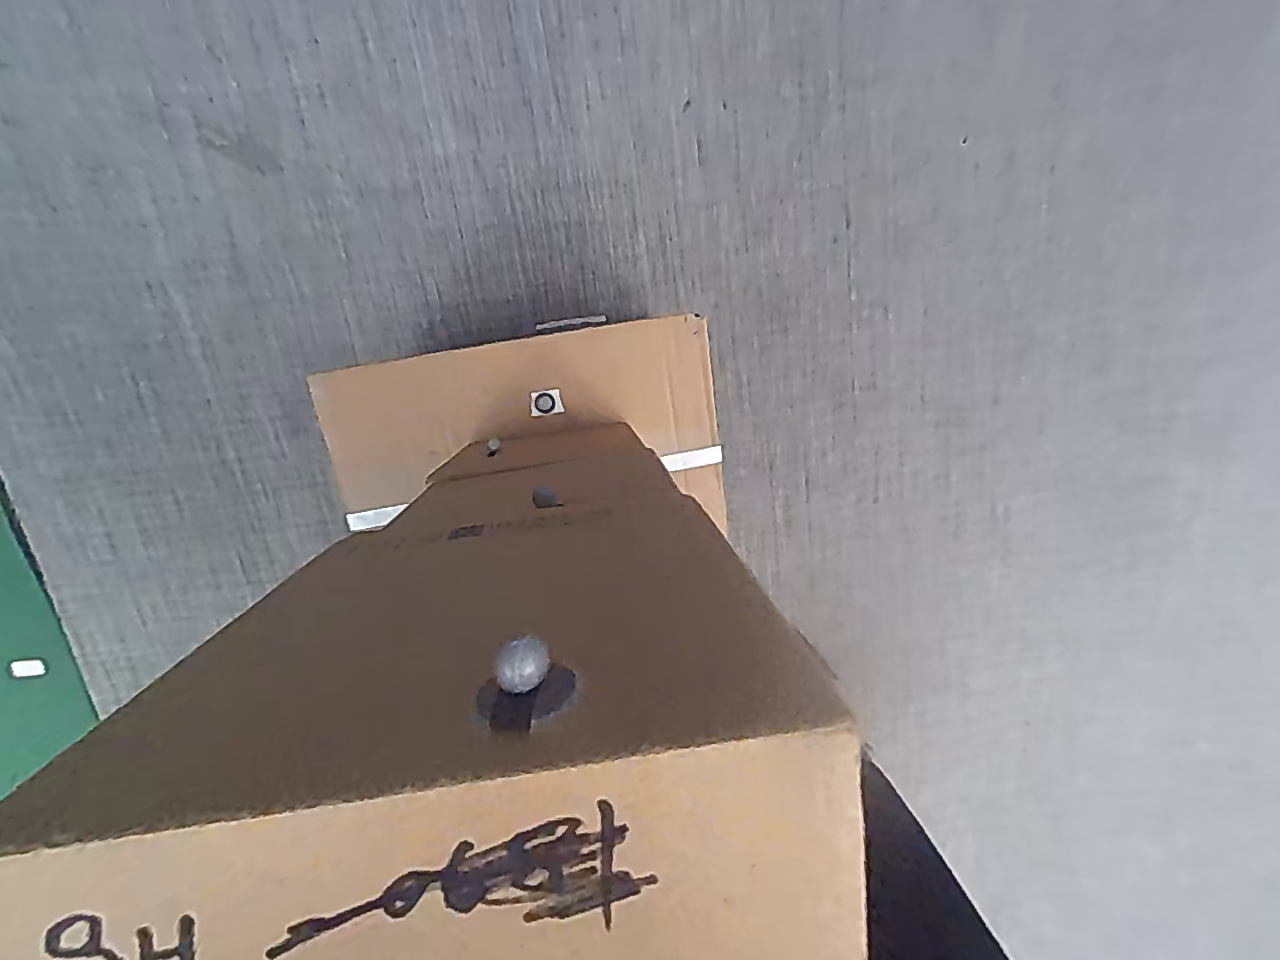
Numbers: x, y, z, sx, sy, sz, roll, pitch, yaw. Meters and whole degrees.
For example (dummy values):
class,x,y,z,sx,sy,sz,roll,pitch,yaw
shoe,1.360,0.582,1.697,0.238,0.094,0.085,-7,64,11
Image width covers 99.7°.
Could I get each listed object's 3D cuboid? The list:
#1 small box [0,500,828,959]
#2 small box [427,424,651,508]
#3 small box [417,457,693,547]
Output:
class,x,y,z,sx,sy,sz,roll,pitch,yaw
small box,-0.044,0.121,0.198,0.168,0.176,0.179,-6,105,-3
small box,-0.078,0.048,0.516,0.179,0.176,0.168,-9,106,-5
small box,-0.056,0.091,0.359,0.179,0.176,0.168,-13,105,-3
